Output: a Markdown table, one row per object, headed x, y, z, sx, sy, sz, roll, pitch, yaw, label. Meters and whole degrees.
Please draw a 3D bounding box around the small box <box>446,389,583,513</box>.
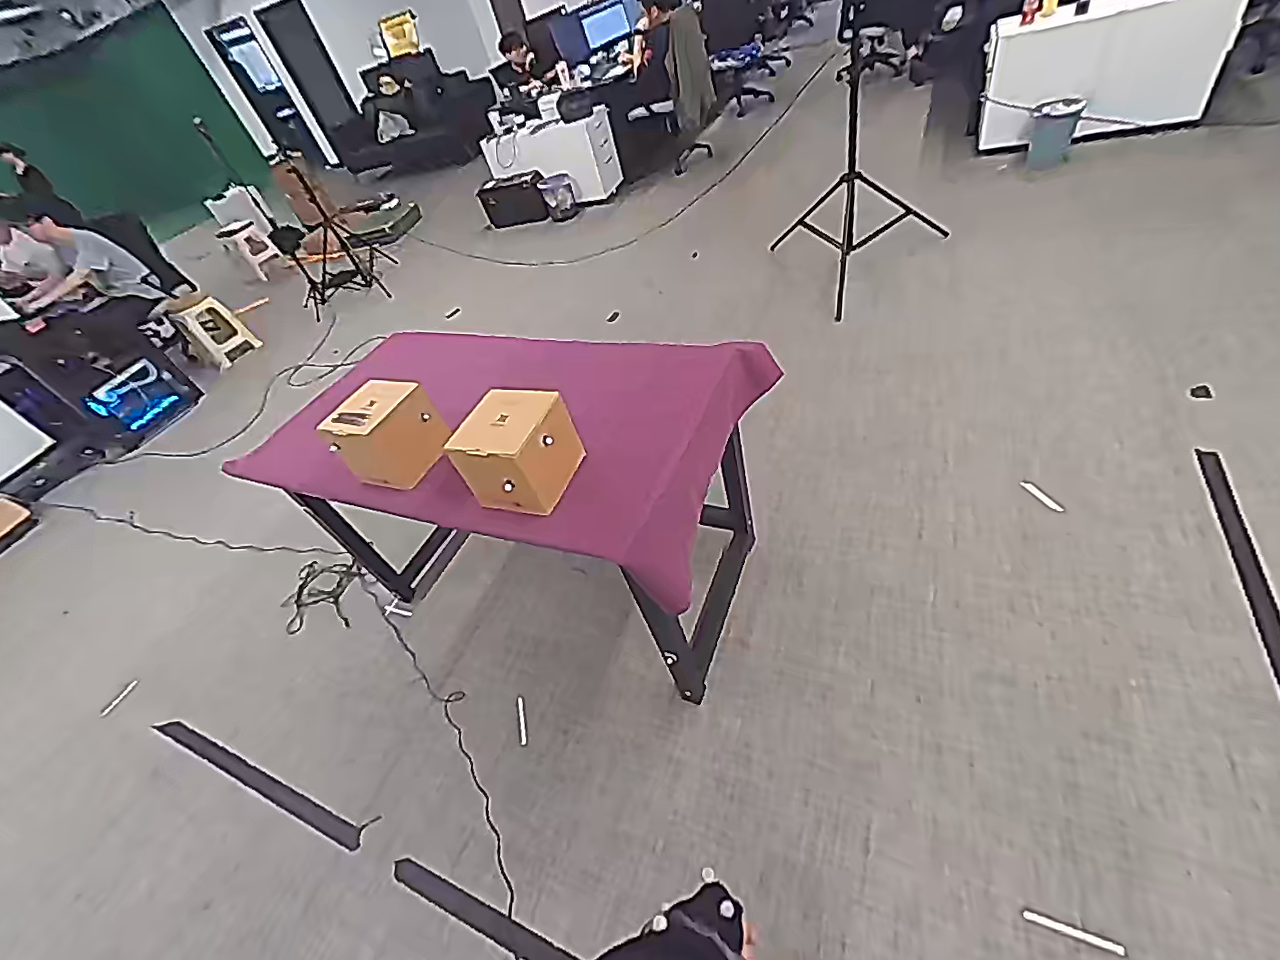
| x | y | z | sx | sy | sz | roll | pitch | yaw | label |
| --- | --- | --- | --- | --- | --- | --- | --- | --- | --- |
| -0.232 | -0.057 | 1.054 | 0.168 | 0.176 | 0.179 | 7 | 49 | 24 | small box |
